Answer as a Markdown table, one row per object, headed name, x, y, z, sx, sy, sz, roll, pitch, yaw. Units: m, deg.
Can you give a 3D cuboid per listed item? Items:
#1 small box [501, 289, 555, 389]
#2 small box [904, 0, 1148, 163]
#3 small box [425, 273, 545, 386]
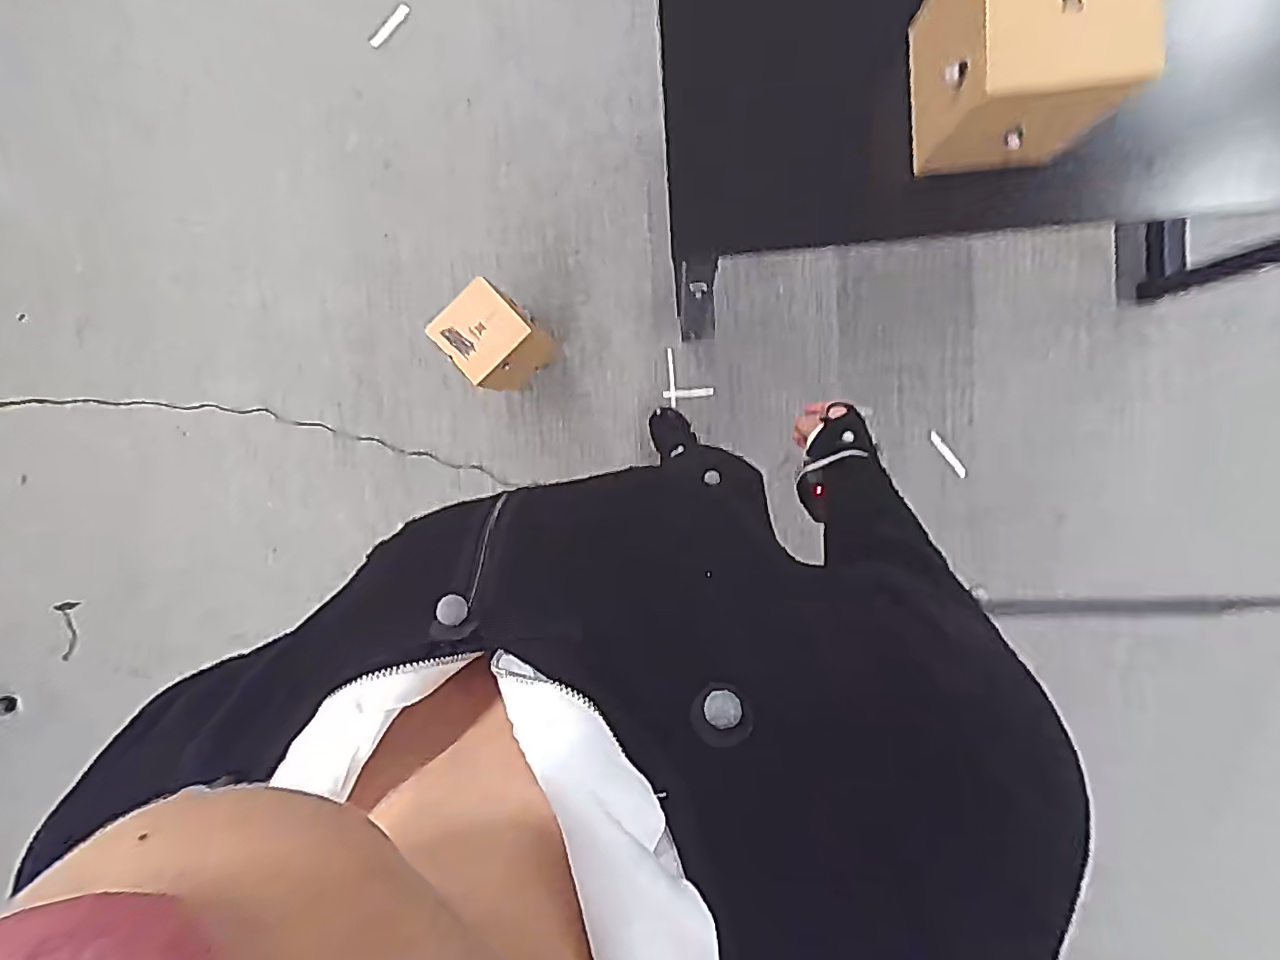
| name | x | y | z | sx | sy | sz | roll | pitch | yaw |
| --- | --- | --- | --- | --- | --- | --- | --- | --- | --- |
| small box | -0.340 | -0.359 | 1.407 | 0.179 | 0.176 | 0.168 | -44 | 90 | 5 |
| small box | 0.415 | -0.484 | 0.609 | 0.168 | 0.176 | 0.179 | -4 | 94 | 4 |
| small box | -0.345 | -0.333 | 1.243 | 0.179 | 0.176 | 0.168 | -43 | 91 | 6 |
